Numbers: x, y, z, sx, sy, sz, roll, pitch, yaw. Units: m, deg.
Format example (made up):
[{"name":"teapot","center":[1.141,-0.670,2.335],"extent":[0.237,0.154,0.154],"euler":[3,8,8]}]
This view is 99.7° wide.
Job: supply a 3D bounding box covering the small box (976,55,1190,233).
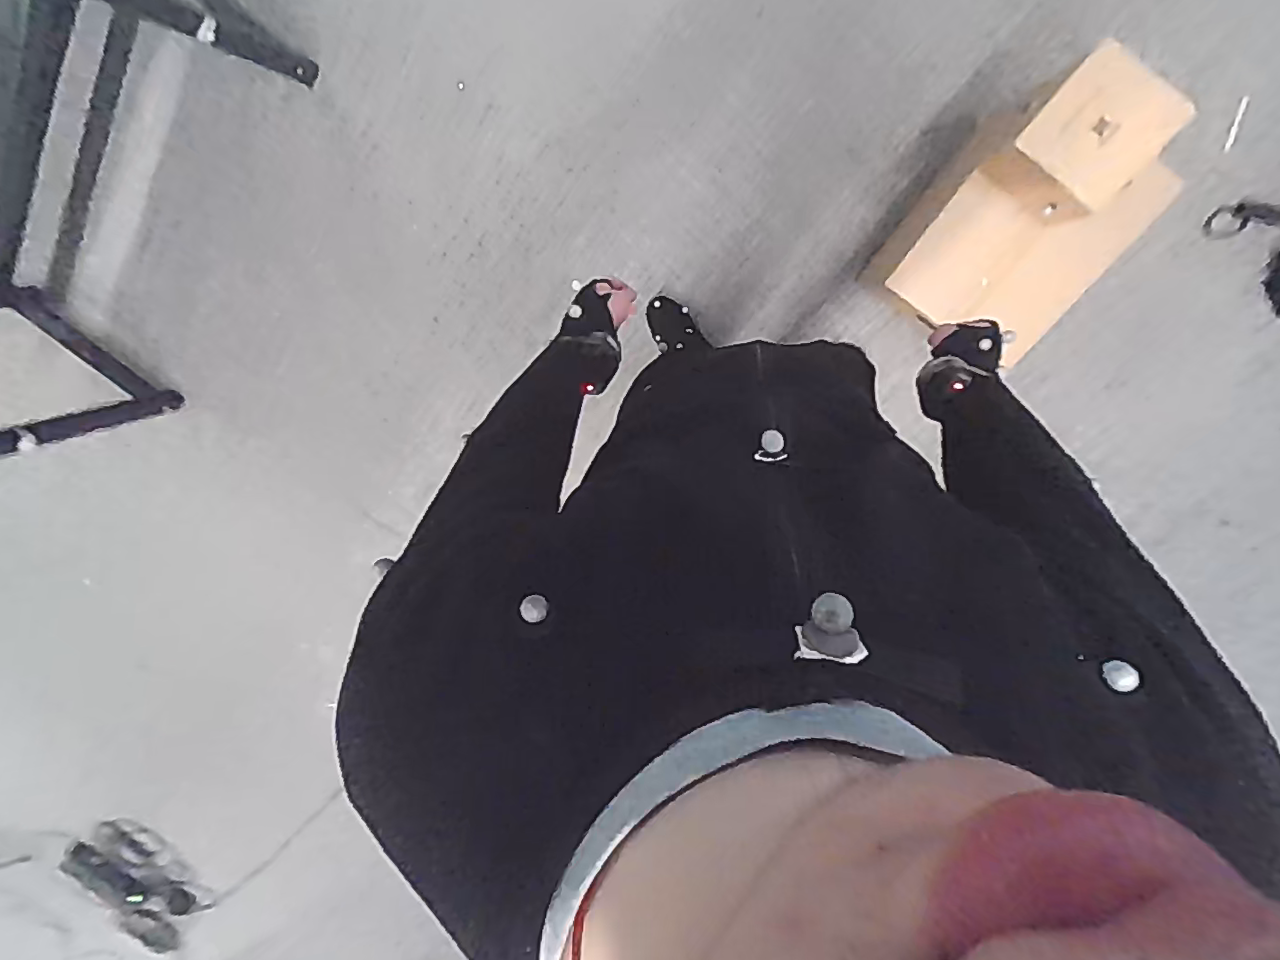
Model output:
[{"name":"small box","center":[0.703,-0.529,0.884],"extent":[0.179,0.176,0.168],"euler":[38,111,0]}]
